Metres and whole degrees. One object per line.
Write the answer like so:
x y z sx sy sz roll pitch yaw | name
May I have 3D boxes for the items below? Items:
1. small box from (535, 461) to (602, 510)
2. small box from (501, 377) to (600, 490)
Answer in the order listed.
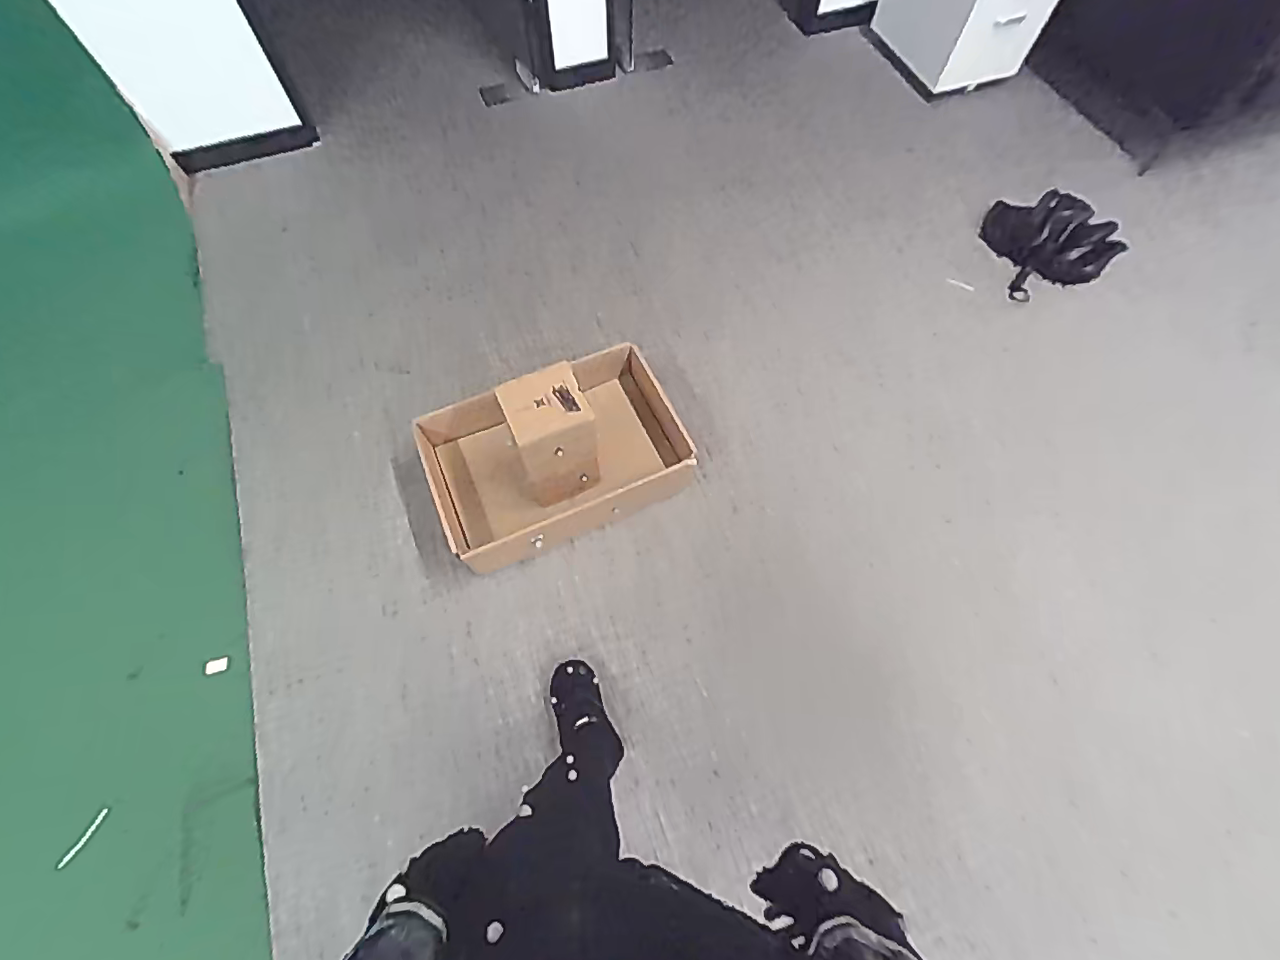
-0.204 -0.041 1.387 0.168 0.176 0.179 -23 65 -12 | small box
-0.200 -0.103 1.252 0.179 0.176 0.168 -22 65 -11 | small box
